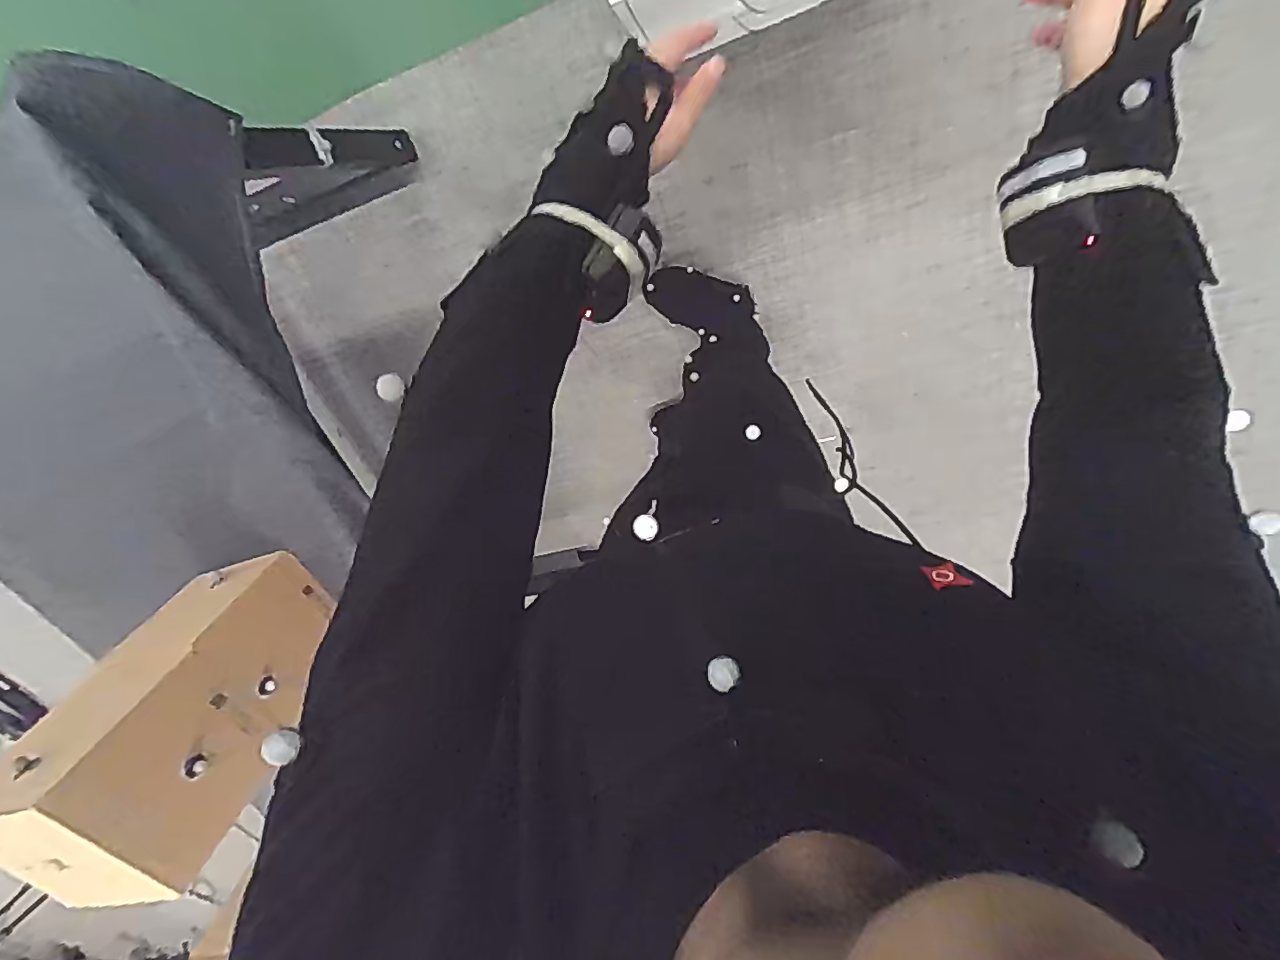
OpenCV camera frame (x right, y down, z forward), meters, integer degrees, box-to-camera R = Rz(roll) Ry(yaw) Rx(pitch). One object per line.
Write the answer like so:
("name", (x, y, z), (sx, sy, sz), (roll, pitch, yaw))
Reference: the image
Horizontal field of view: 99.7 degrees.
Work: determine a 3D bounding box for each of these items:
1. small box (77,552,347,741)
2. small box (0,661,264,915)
("small box", (-0.529, 0.218, 0.698), (0.179, 0.176, 0.168), (-16, 120, 16))
("small box", (-0.541, 0.312, 0.560), (0.179, 0.176, 0.168), (-16, 118, 15))
